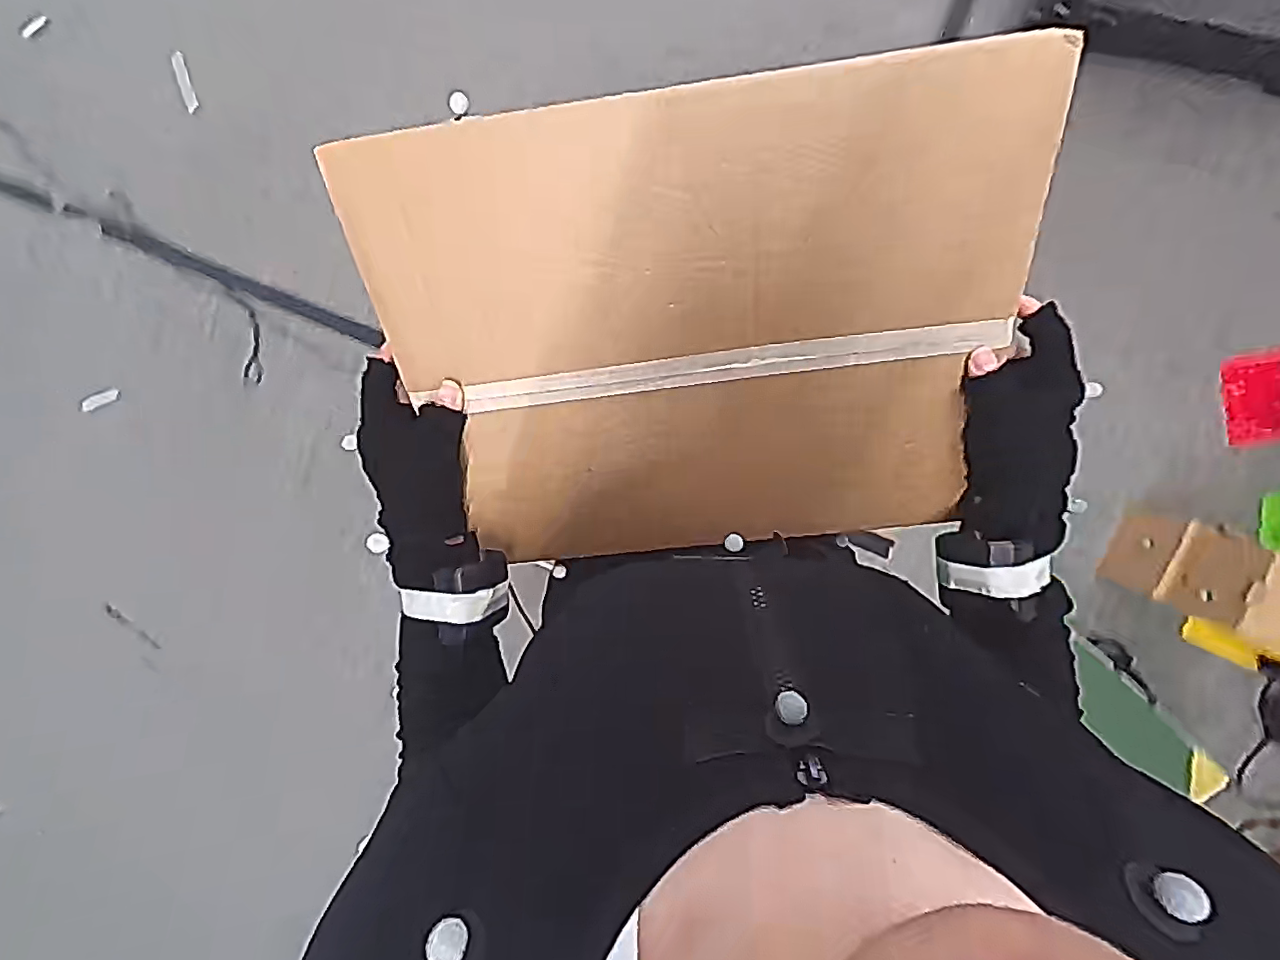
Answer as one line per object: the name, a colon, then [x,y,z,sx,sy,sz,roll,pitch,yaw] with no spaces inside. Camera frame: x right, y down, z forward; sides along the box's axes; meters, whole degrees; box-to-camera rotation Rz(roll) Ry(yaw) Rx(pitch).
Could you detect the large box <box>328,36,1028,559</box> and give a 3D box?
large box: [0.030,-0.162,0.504,0.408,0.320,0.320,-7,124,4]
